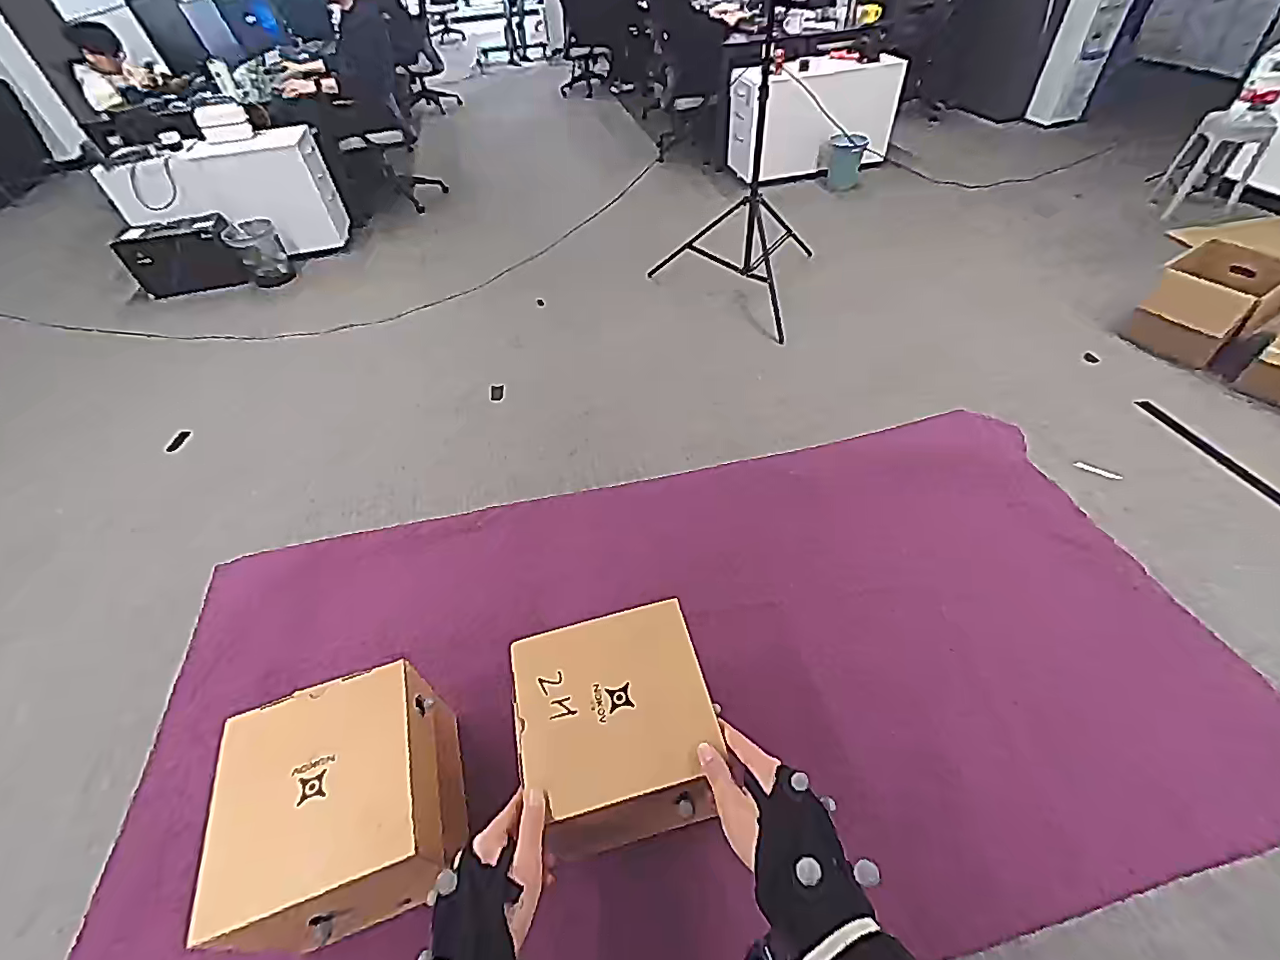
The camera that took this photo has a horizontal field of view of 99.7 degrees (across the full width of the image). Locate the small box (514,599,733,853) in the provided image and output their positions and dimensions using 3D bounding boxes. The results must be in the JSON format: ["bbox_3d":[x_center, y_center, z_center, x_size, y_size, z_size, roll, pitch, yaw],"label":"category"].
[{"bbox_3d":[-0.016,0.251,0.548,0.179,0.176,0.168,-14,47,-4],"label":"small box"}]

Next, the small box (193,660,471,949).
[{"bbox_3d":[-0.274,0.313,0.523,0.168,0.176,0.179,-17,47,-11],"label":"small box"}]
